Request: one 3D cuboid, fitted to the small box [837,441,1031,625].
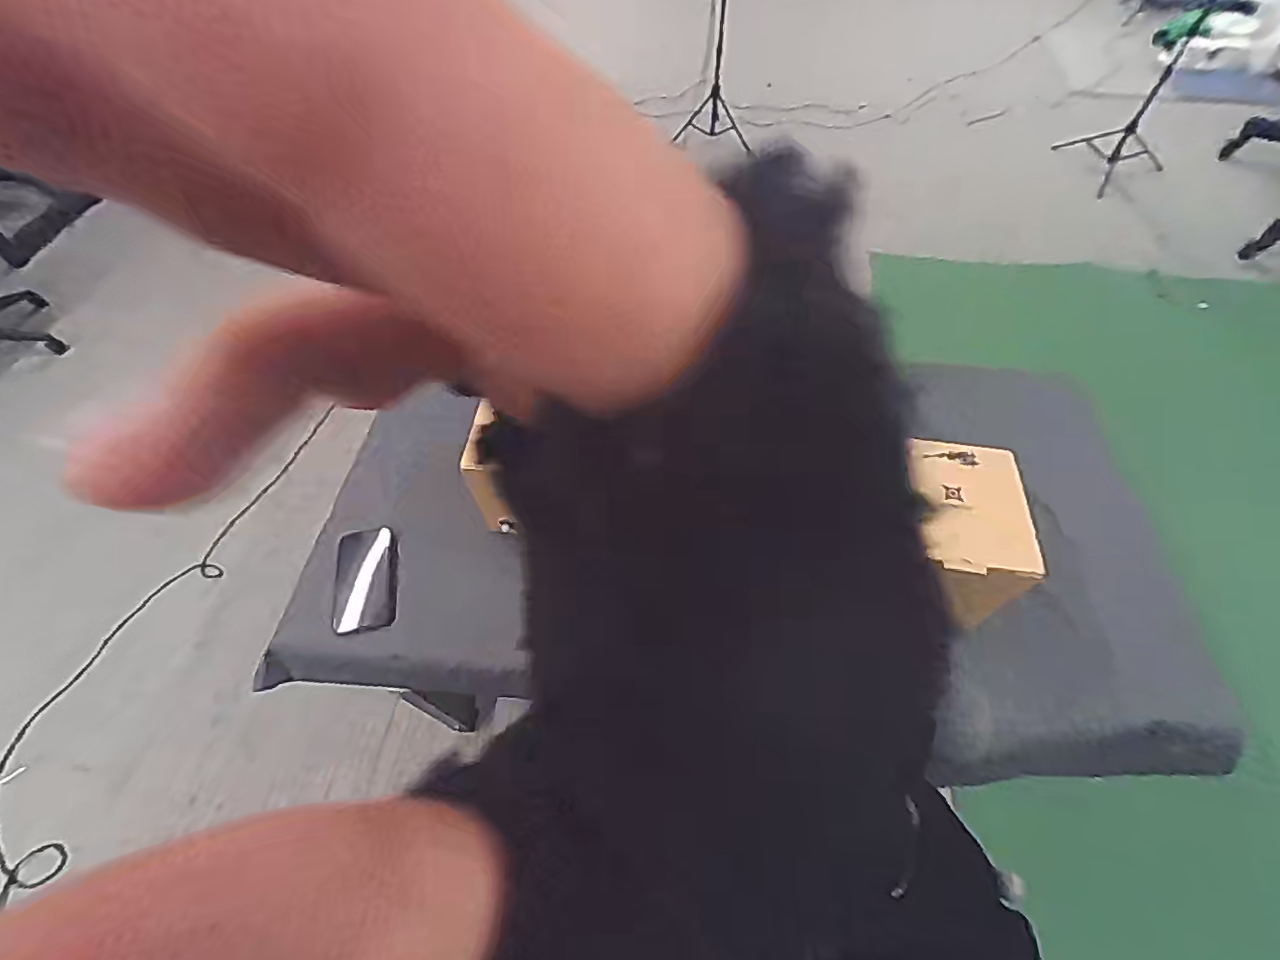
[{"bbox_3d":[0.367,0.075,0.714,0.168,0.176,0.179,8,56,6],"label":"small box"}]

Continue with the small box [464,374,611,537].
[{"bbox_3d":[-0.134,-0.031,0.788,0.168,0.176,0.179,4,55,3],"label":"small box"}]
